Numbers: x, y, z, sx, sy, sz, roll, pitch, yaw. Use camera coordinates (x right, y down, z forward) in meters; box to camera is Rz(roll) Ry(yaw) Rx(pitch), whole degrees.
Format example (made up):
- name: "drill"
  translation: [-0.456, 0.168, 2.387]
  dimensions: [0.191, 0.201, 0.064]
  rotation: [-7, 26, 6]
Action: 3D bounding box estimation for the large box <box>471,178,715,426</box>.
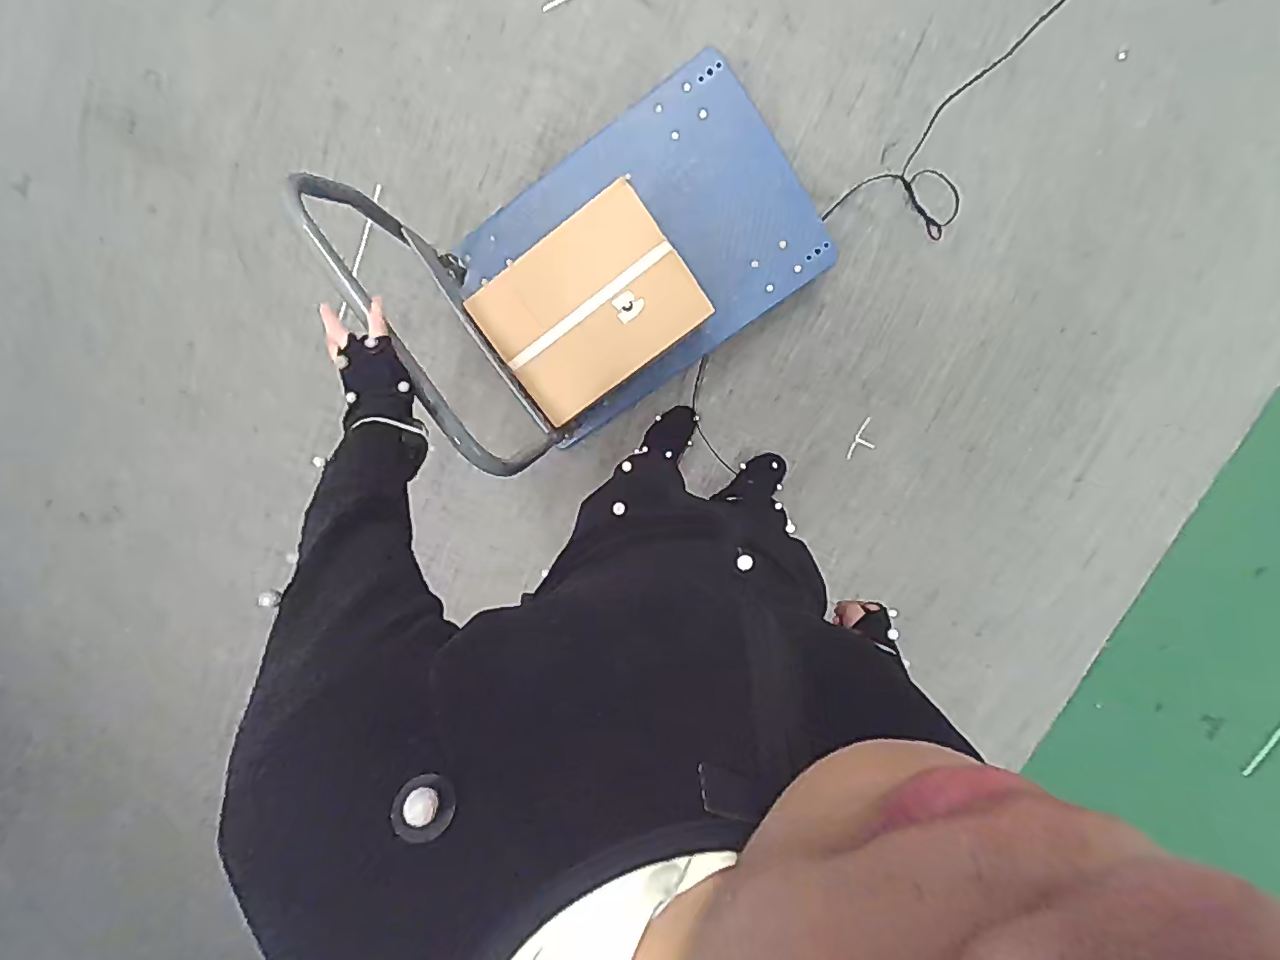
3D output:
- name: "large box"
  translation: [-0.093, -0.367, 1.219]
  dimensions: [0.408, 0.320, 0.320]
  rotation: [-35, 98, 6]
